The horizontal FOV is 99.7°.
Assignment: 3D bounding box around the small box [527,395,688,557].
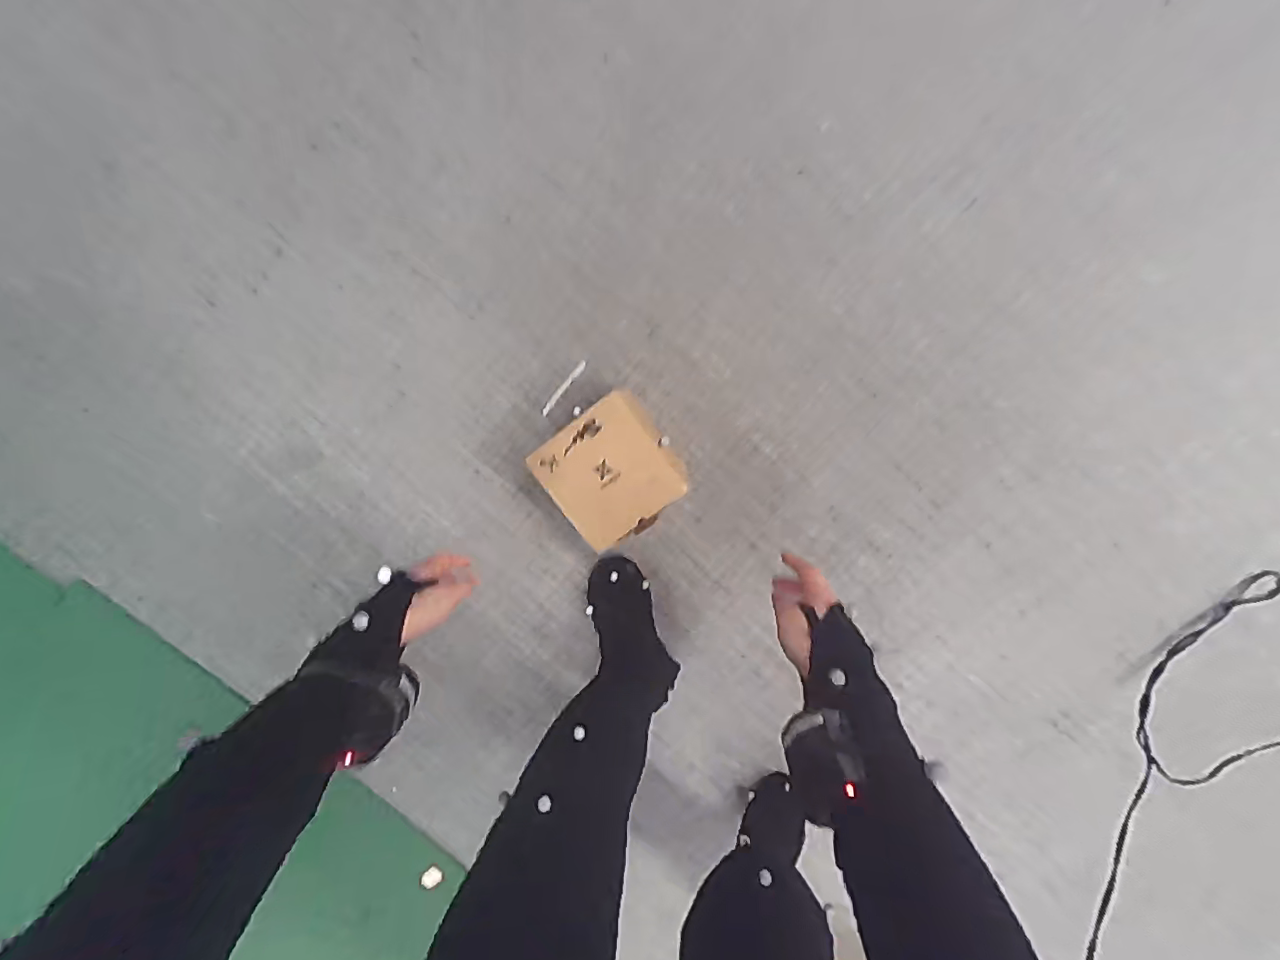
[{"bbox_3d":[-0.041,-0.017,0.835,0.168,0.176,0.179,-37,97,9],"label":"small box"}]
